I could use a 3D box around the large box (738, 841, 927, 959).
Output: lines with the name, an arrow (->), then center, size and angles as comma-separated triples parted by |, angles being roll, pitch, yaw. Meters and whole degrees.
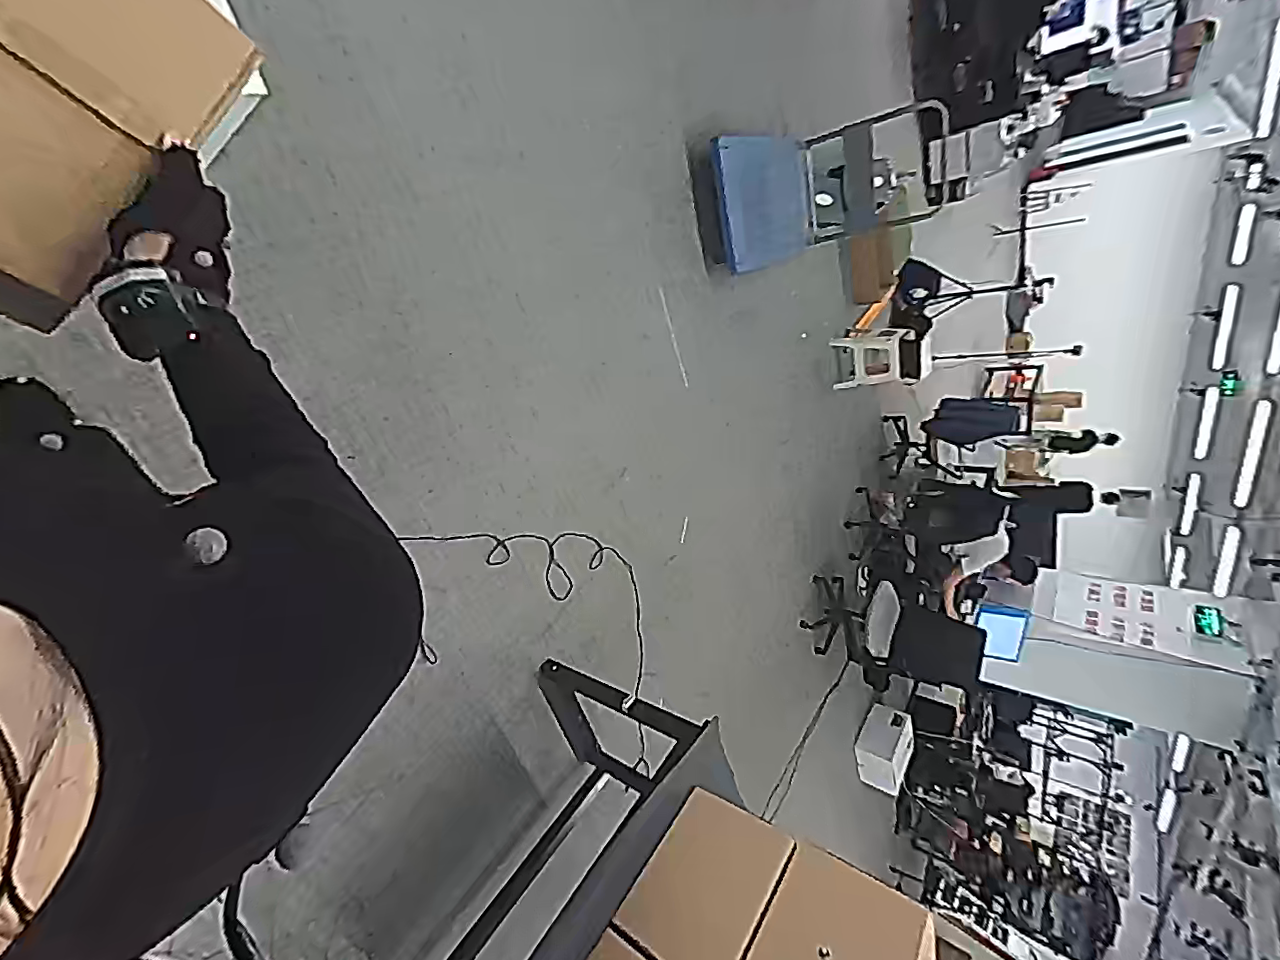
large box -> 0.428, 1.154, 1.220 | 0.408, 0.320, 0.320 | -39, 124, -41
